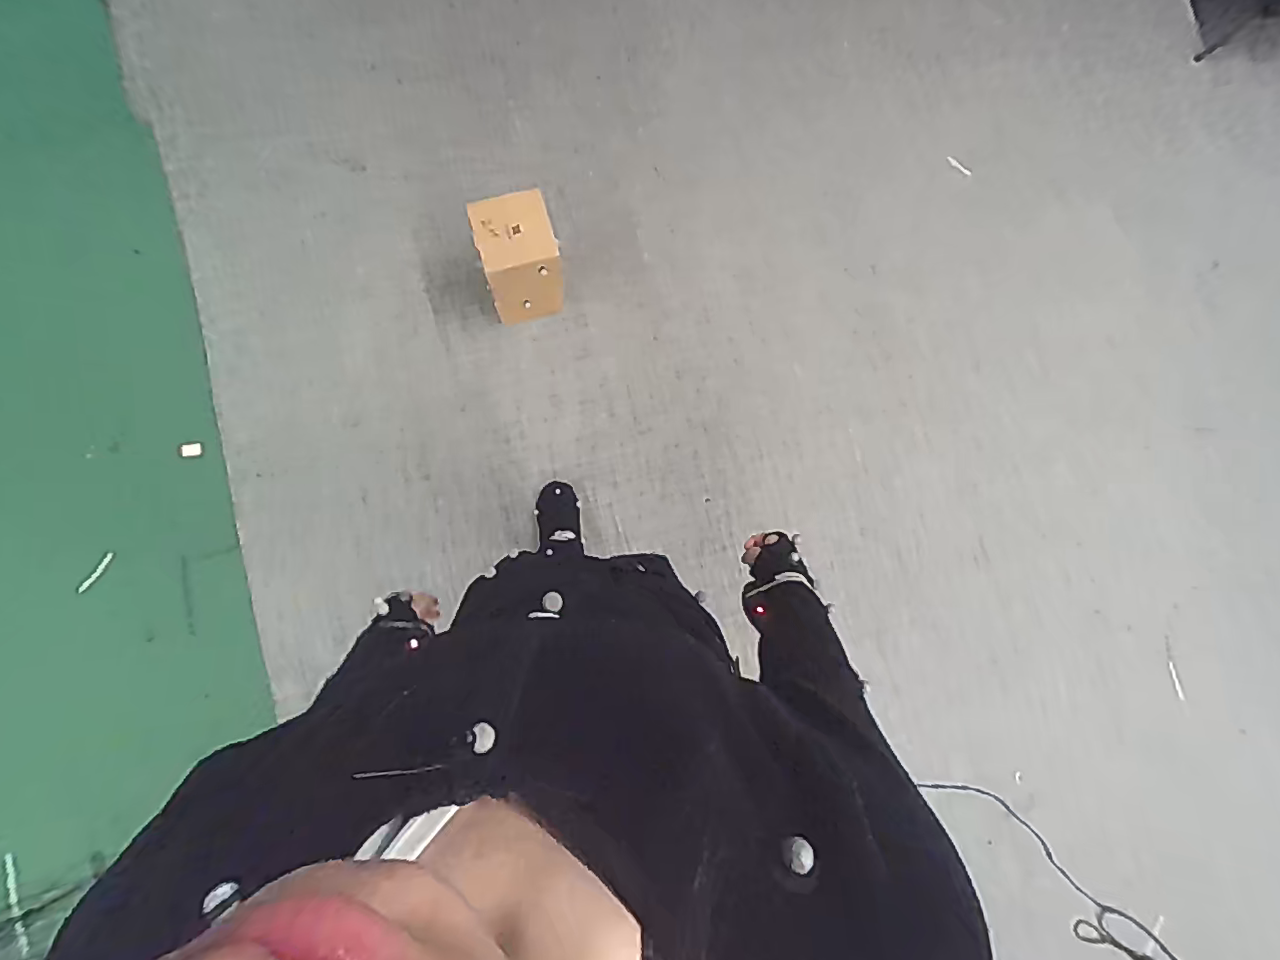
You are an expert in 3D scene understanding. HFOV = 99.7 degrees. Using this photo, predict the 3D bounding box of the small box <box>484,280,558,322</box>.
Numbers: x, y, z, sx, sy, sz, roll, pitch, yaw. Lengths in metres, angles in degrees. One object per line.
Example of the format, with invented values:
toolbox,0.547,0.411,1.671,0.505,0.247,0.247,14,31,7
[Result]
small box,-0.325,-0.545,1.452,0.179,0.176,0.168,-18,89,-6

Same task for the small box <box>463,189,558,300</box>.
small box,-0.300,-0.554,1.289,0.179,0.176,0.168,-17,89,-7
